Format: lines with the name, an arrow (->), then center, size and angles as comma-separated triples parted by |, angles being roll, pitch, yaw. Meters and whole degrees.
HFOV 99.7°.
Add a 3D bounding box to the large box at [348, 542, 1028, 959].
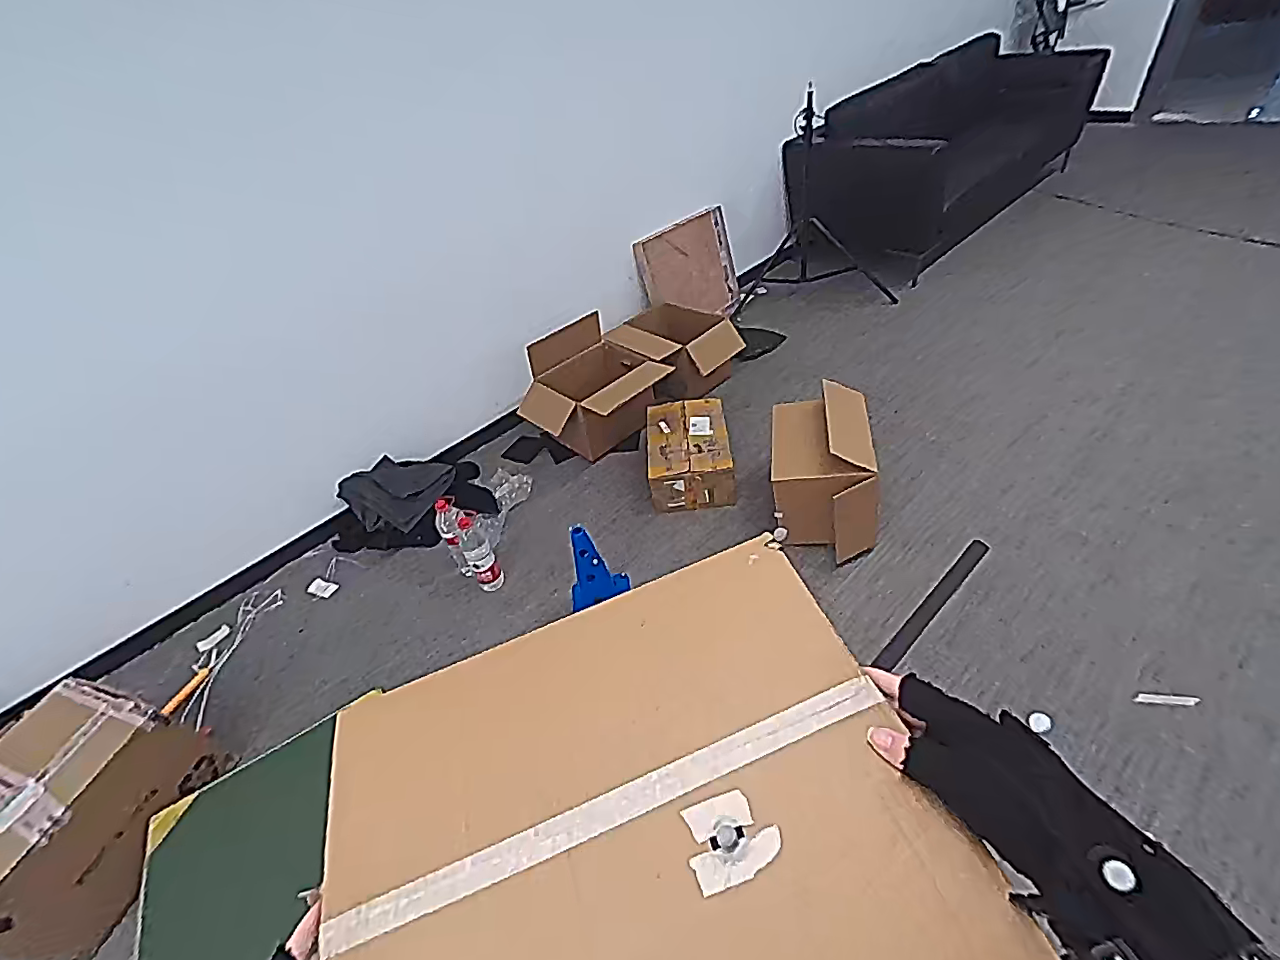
large box -> 0.015, 0.328, 0.490 | 0.408, 0.320, 0.320 | -21, 47, -6
